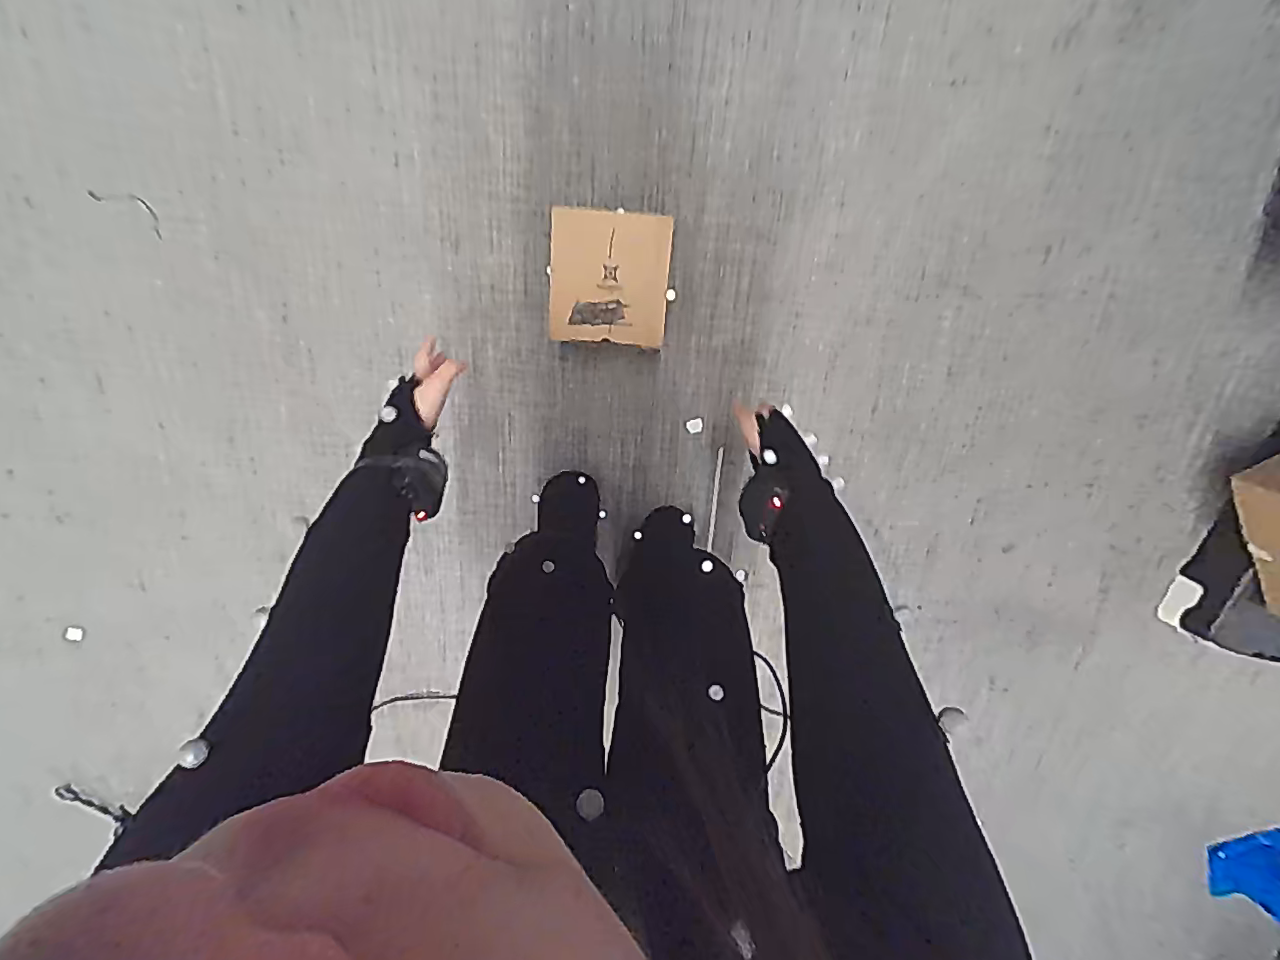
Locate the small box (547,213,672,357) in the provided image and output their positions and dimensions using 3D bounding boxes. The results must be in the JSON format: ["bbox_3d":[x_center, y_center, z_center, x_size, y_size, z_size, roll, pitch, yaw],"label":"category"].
[{"bbox_3d":[-0.045,-0.292,0.825,0.168,0.176,0.179,5,108,-2],"label":"small box"}]
